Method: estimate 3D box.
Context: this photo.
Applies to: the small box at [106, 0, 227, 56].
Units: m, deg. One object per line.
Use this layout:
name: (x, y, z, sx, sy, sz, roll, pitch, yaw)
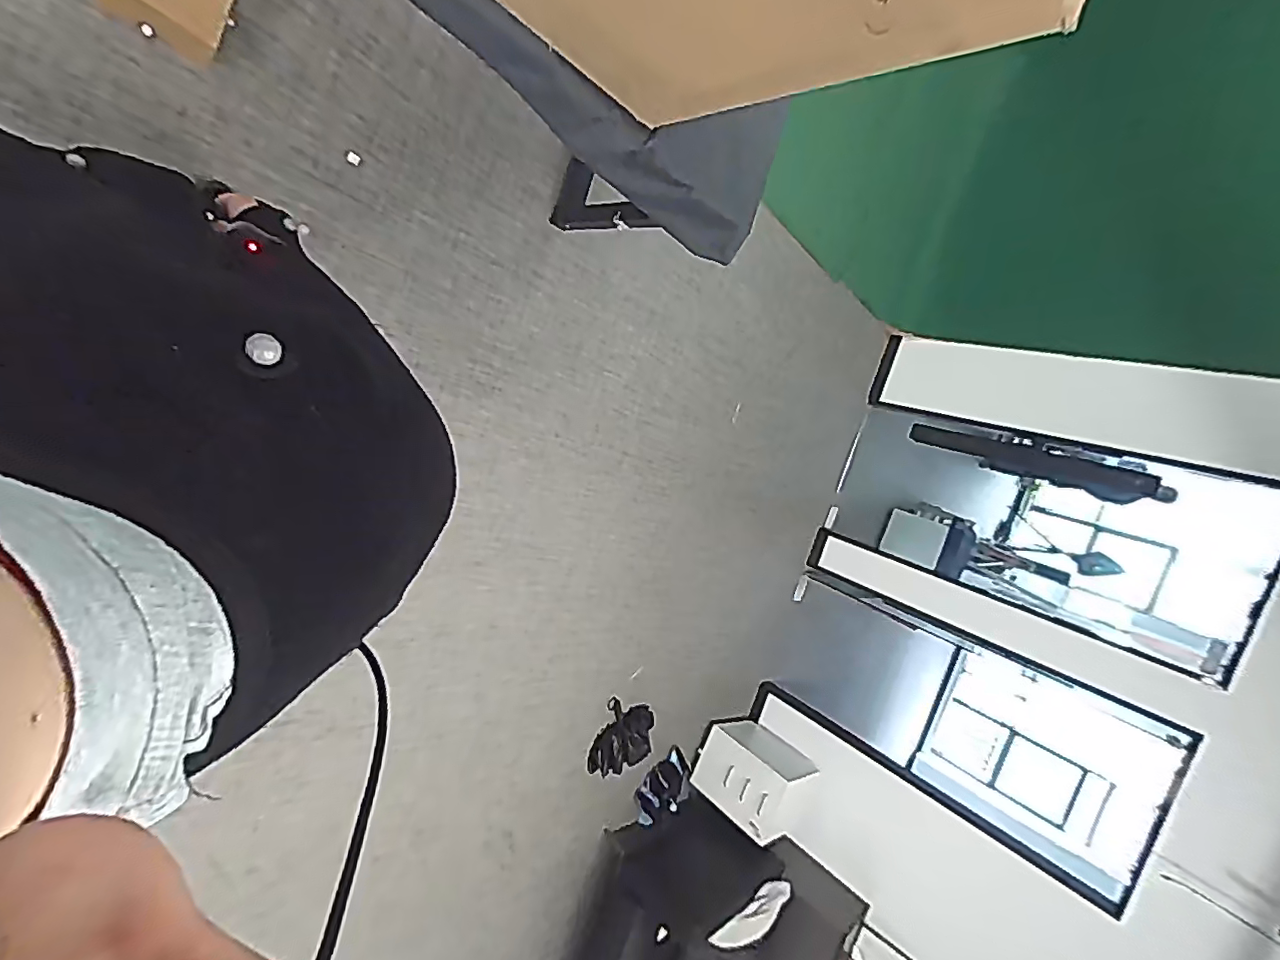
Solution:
small box: (-0.843, -0.911, 0.961, 0.168, 0.176, 0.179, 19, 95, -47)
